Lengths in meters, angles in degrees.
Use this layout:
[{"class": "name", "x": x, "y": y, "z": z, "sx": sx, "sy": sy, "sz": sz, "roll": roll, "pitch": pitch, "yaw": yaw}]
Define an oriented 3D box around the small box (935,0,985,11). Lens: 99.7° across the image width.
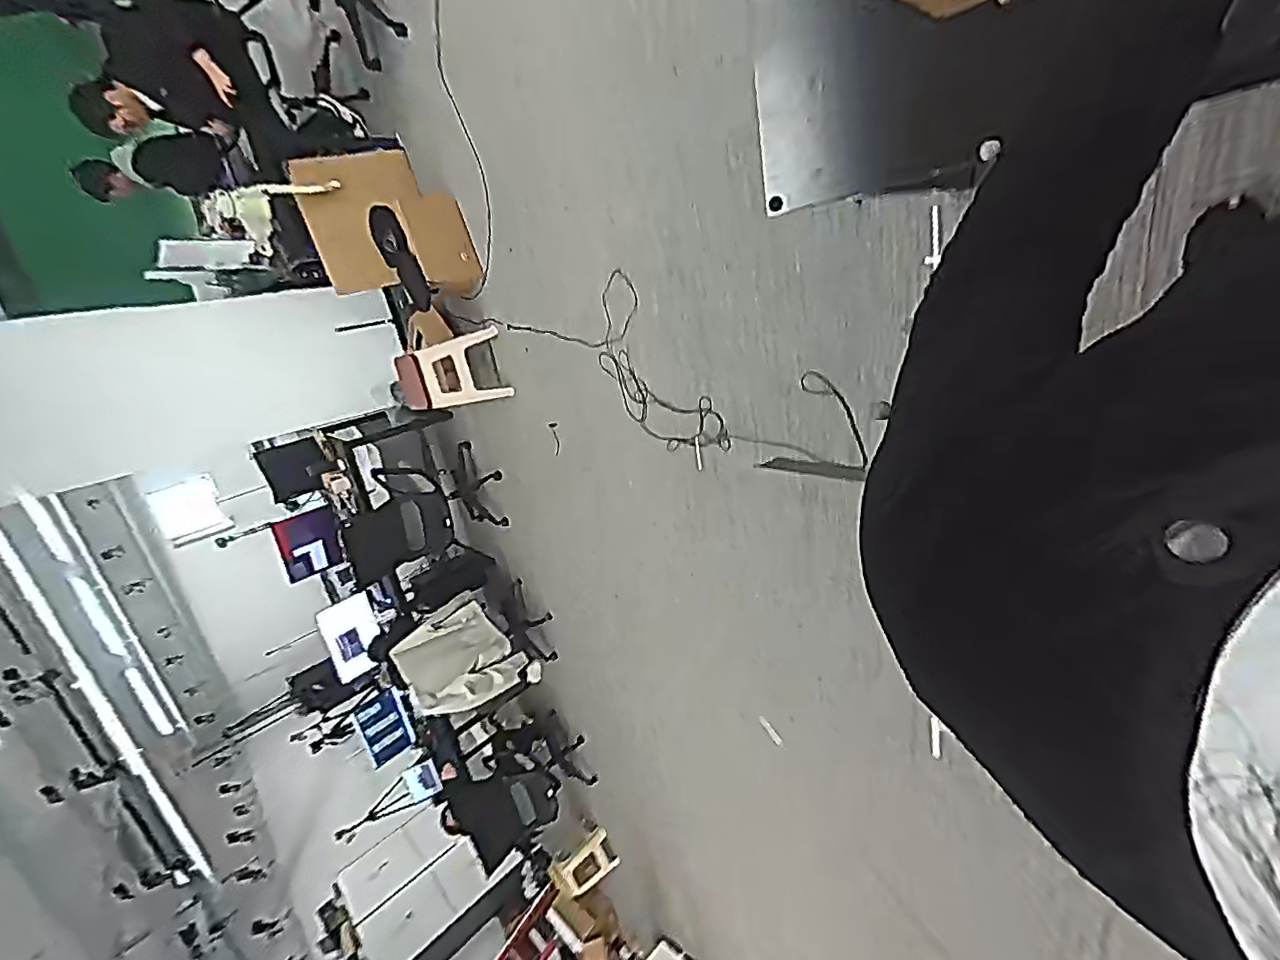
[{"class": "small box", "x": 0.322, "y": -0.554, "z": 0.463, "sx": 0.168, "sy": 0.176, "sz": 0.179, "roll": 11, "pitch": 119, "yaw": 47}]
